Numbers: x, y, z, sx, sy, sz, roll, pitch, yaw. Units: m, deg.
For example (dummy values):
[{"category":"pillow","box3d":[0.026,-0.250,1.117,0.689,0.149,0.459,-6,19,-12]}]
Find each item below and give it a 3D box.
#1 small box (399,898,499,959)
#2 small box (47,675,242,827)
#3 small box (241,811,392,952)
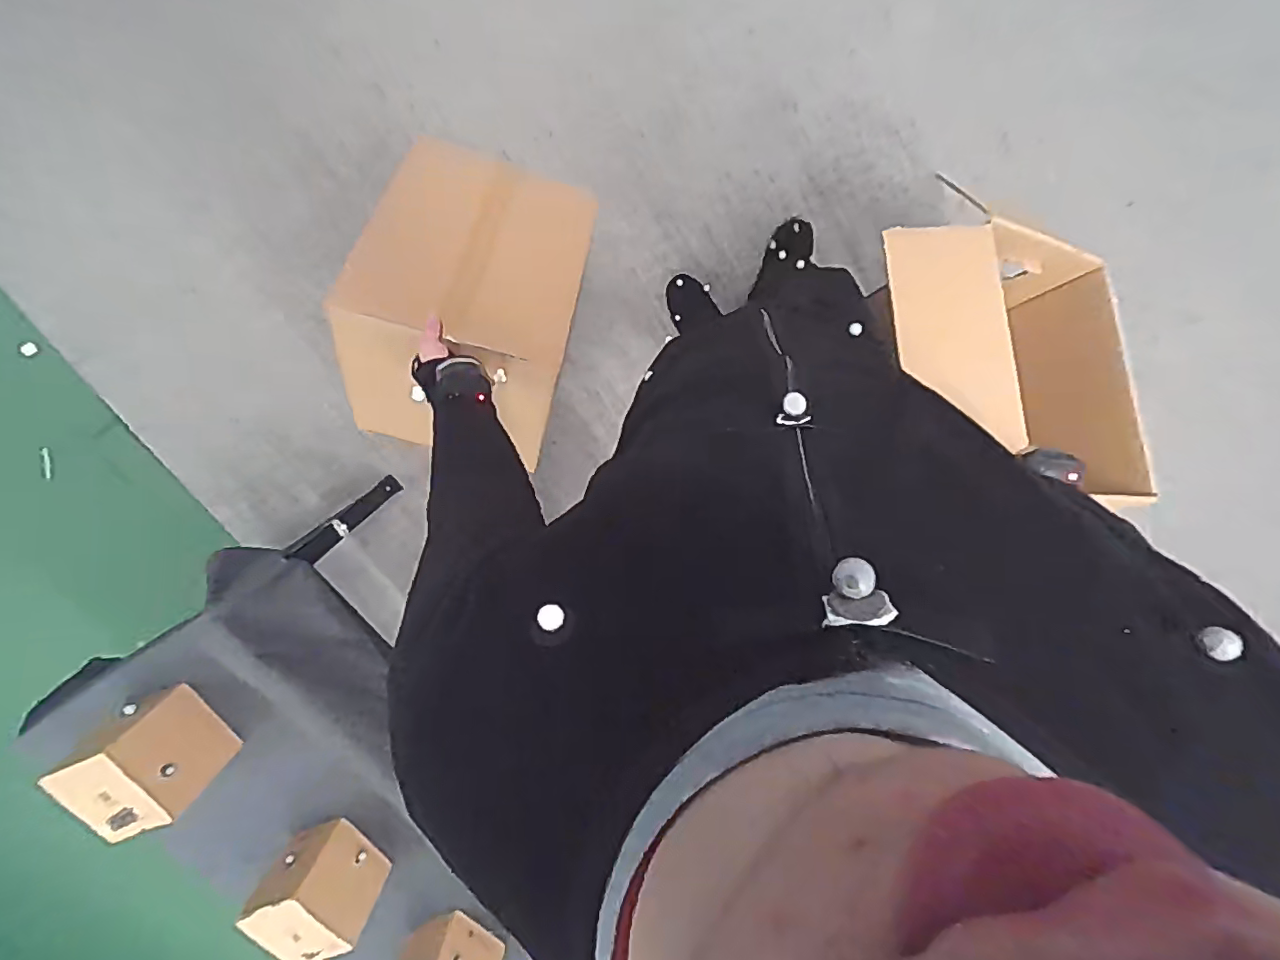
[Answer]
[{"category":"small box","box3d":[-0.449,1.116,1.250,0.179,0.176,0.168,-37,104,19]},{"category":"small box","box3d":[-0.915,0.505,1.021,0.168,0.176,0.179,-23,109,12]},{"category":"small box","box3d":[-0.673,0.840,1.148,0.168,0.176,0.179,-27,108,14]}]
